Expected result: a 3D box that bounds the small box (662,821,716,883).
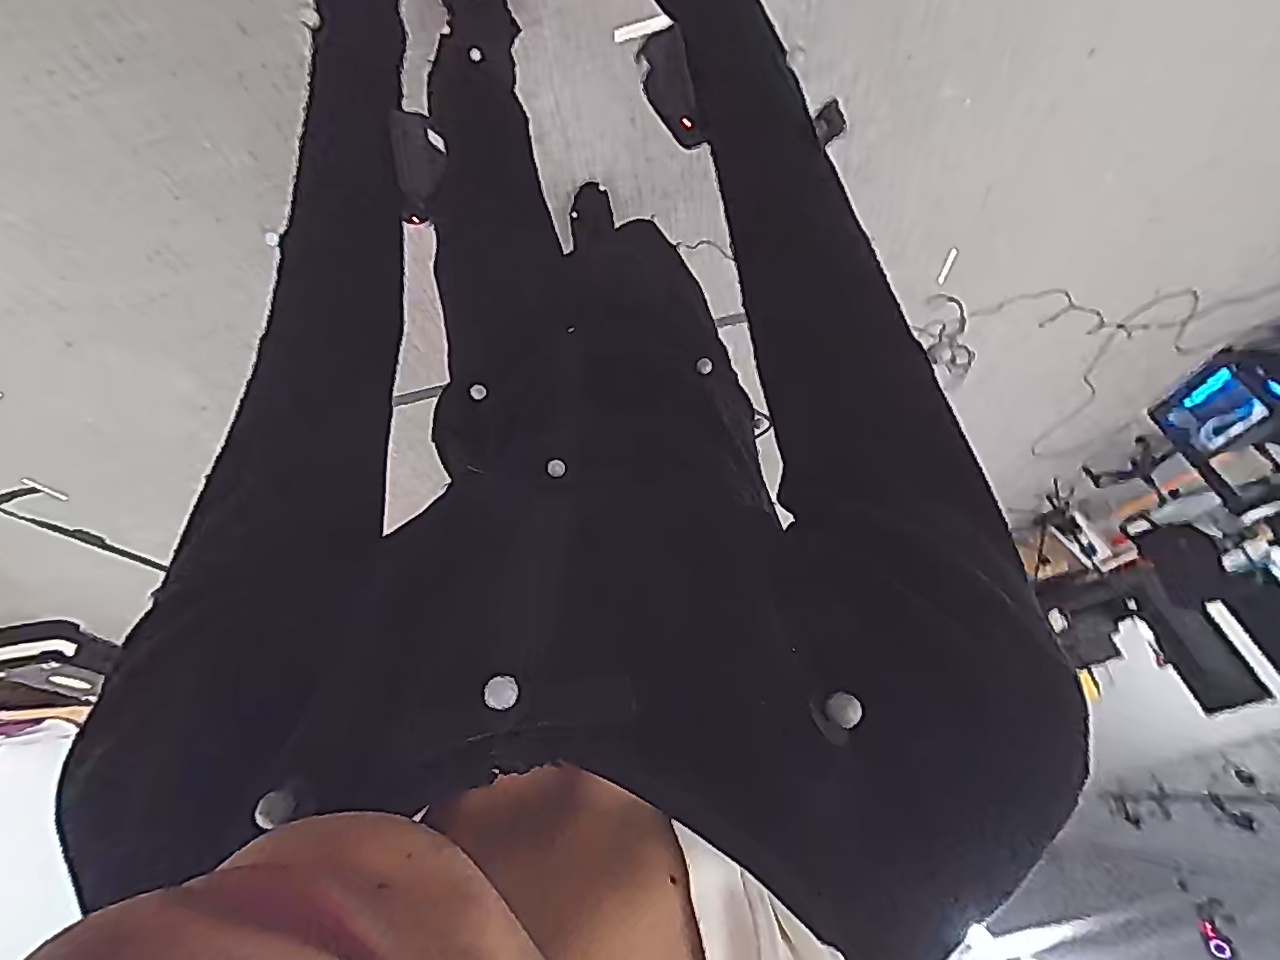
[{"bbox_3d":[0.204,1.521,2.222,0.168,0.176,0.179,-20,151,8],"label":"small box"}]
